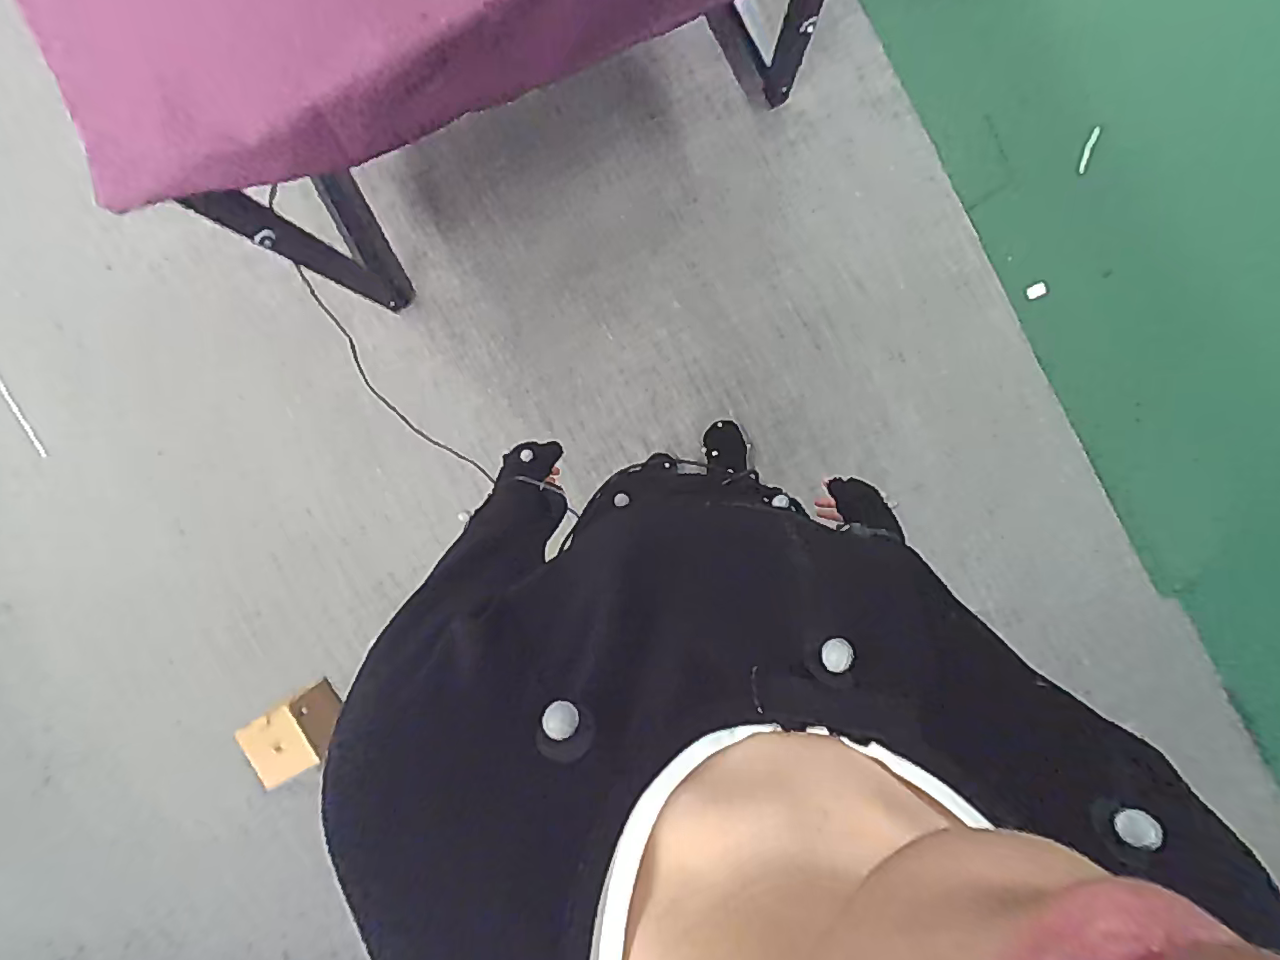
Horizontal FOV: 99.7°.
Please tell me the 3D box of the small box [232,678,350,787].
[{"bbox_3d":[-0.931,0.674,1.462,0.168,0.176,0.179,-29,92,3],"label":"small box"}]
